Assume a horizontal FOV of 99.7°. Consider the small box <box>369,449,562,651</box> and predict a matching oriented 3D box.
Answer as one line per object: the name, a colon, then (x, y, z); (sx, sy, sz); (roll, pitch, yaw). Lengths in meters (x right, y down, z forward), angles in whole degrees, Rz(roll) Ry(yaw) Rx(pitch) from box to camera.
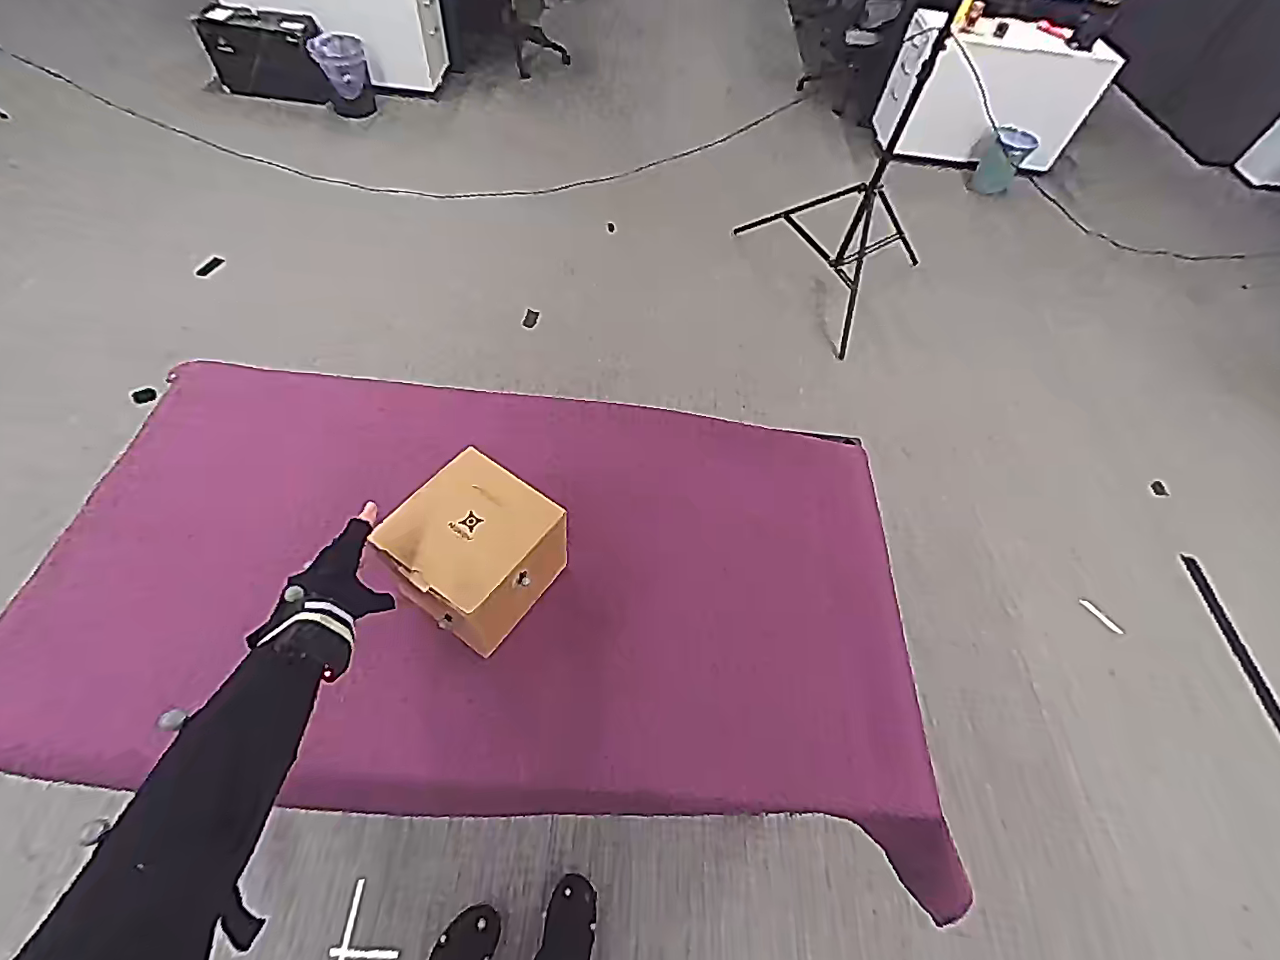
small box: (-0.216, 0.100, 0.728); (0.168, 0.176, 0.179); (32, 58, 14)
